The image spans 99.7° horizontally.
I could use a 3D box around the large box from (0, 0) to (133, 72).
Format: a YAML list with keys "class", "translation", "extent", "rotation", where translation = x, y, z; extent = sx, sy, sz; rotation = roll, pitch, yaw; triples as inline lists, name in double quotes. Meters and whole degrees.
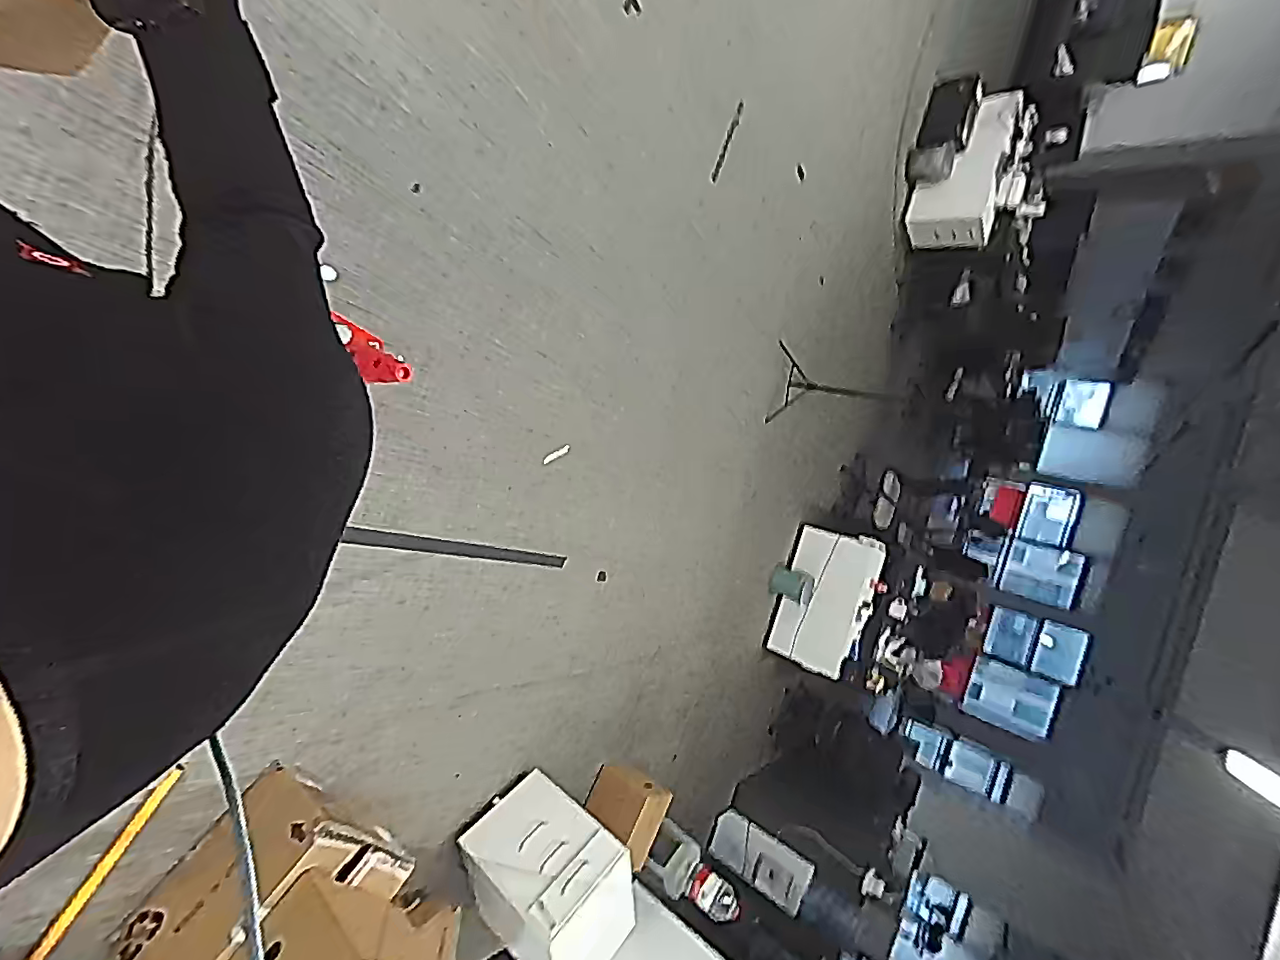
- class: "large box"
  translation: [-0.564, -0.427, 0.241]
  extent: [0.408, 0.320, 0.320]
  rotation: [-26, 126, -43]
